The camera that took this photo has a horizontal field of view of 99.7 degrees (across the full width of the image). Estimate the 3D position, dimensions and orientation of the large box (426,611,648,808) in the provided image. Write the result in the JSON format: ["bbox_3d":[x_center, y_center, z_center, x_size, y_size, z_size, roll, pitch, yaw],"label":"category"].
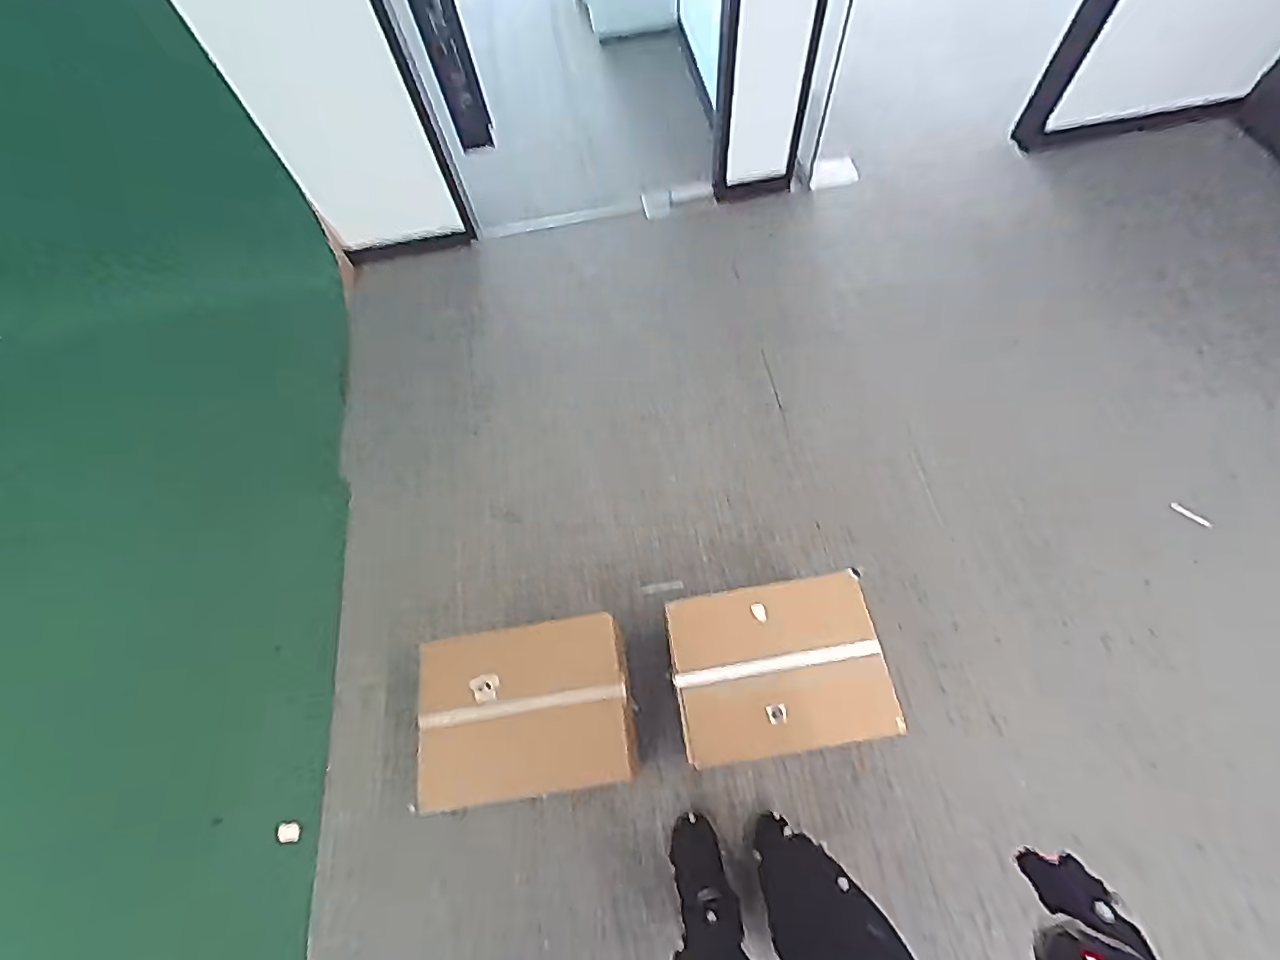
[{"bbox_3d":[-0.211,0.503,1.200,0.408,0.320,0.320,-9,64,1],"label":"large box"}]
